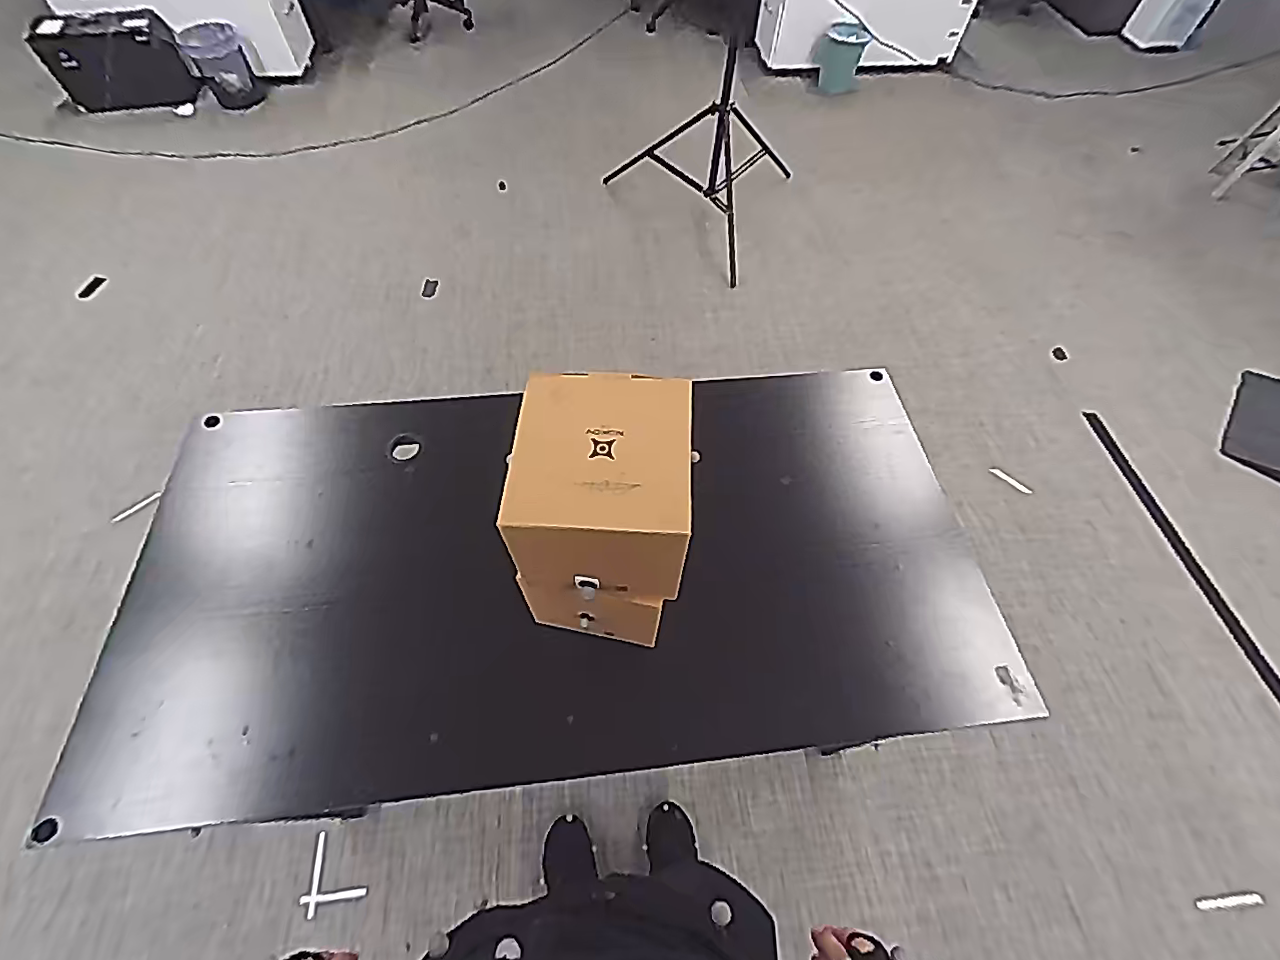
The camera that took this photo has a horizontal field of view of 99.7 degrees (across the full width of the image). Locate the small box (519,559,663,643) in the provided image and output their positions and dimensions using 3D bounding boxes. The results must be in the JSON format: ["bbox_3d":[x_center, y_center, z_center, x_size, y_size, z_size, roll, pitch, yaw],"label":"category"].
[{"bbox_3d":[-0.043,0.099,0.716,0.168,0.176,0.179,11,58,4],"label":"small box"}]

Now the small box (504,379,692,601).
[{"bbox_3d":[-0.035,0.015,0.577,0.168,0.176,0.179,2,59,1],"label":"small box"}]
